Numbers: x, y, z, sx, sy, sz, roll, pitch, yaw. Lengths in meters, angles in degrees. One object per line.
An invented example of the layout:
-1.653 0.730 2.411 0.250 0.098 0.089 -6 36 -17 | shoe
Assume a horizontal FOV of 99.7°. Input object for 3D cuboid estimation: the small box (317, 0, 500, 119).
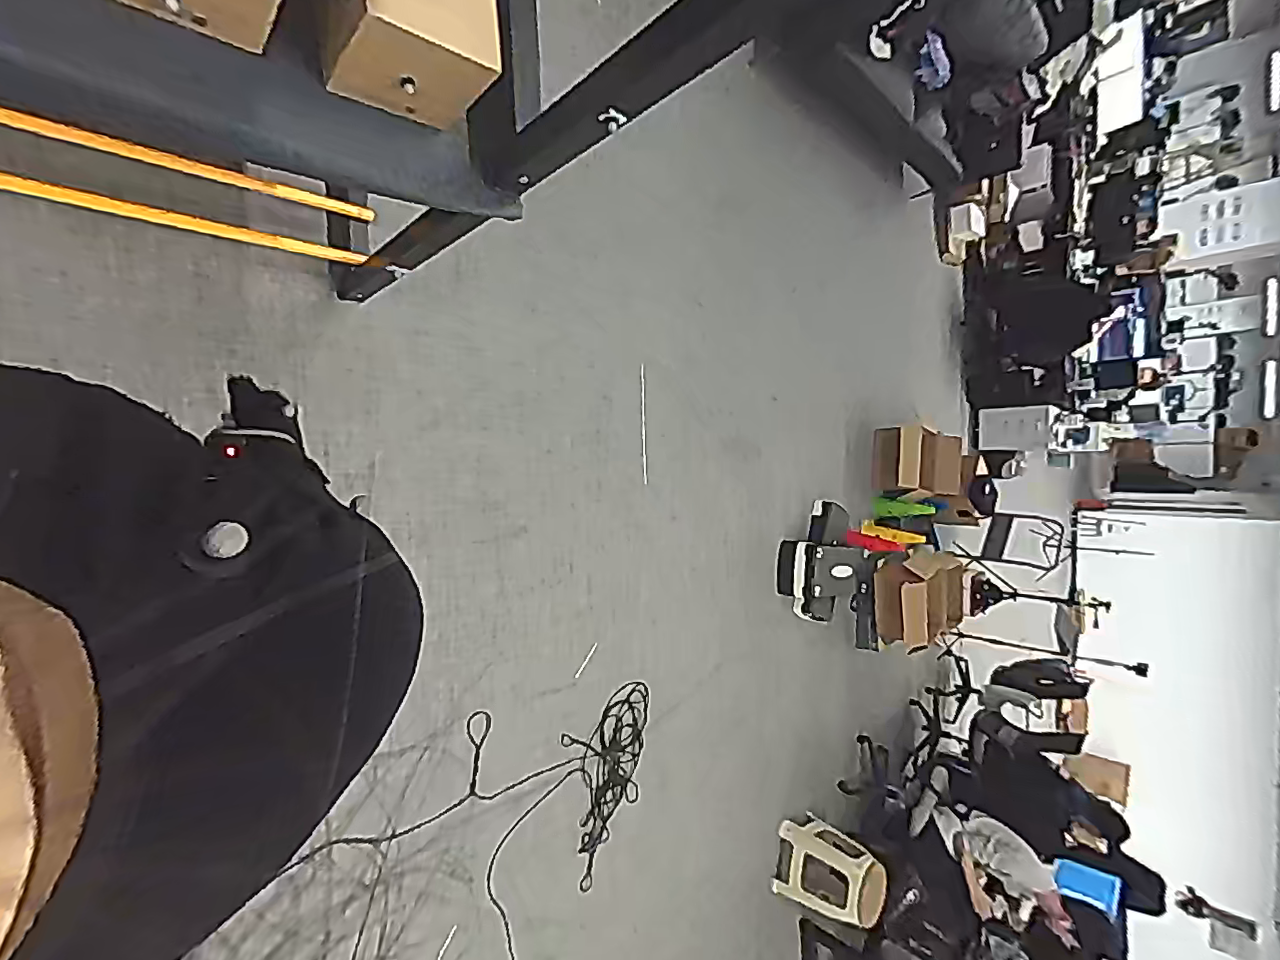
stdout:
-0.300 -0.609 0.692 0.168 0.176 0.179 -9 97 -45 | small box
